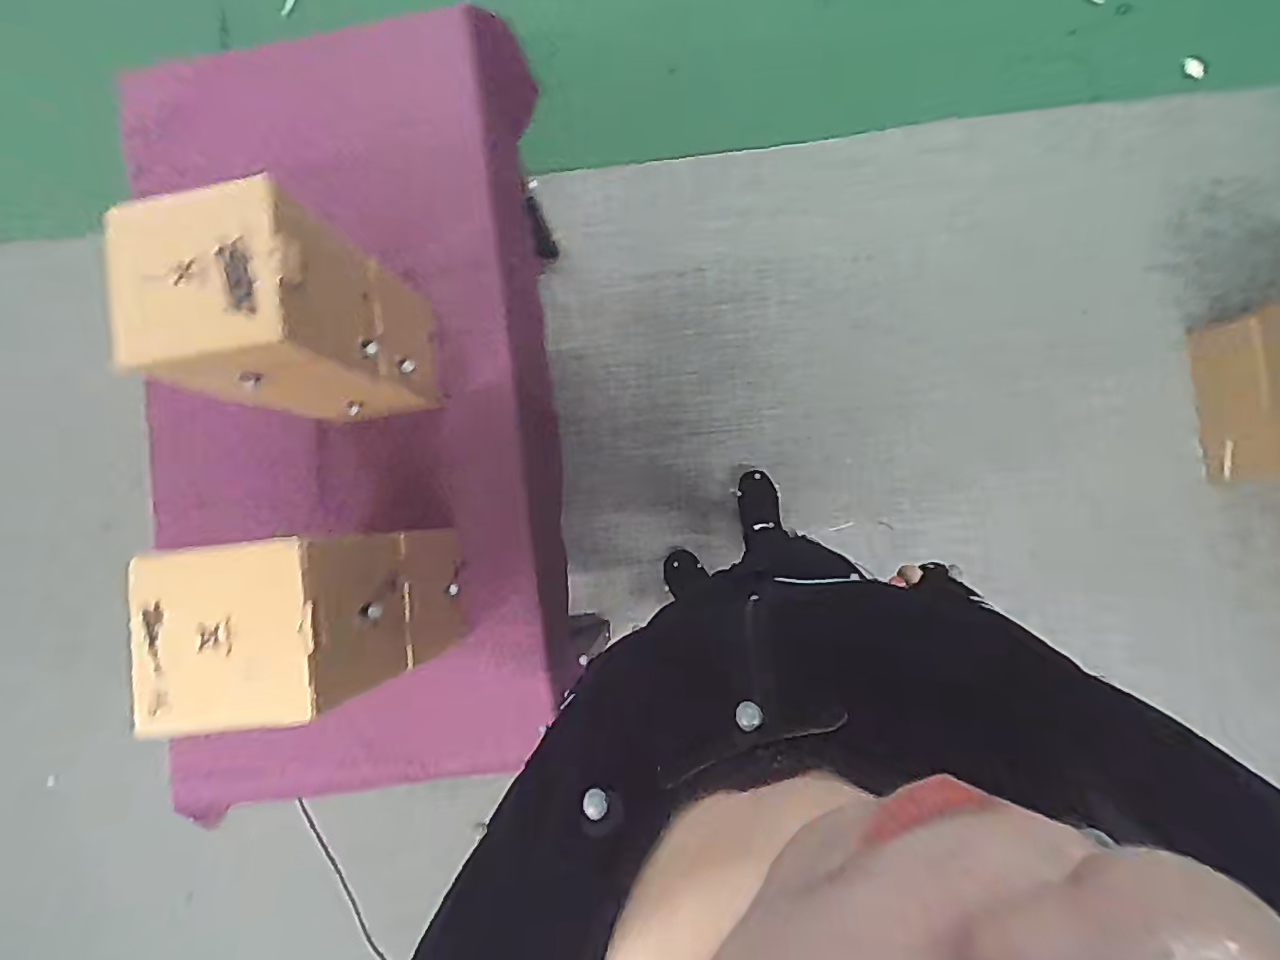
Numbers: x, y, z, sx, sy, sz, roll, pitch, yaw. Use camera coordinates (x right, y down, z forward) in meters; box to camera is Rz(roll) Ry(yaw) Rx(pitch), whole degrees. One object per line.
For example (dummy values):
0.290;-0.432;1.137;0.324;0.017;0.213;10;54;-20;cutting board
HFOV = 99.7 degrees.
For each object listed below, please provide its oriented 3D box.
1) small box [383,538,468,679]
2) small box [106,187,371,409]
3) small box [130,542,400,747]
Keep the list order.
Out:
-0.355;0.170;0.733;0.179;0.176;0.168;-7;85;4;small box
-0.424;-0.185;0.601;0.179;0.176;0.168;-9;85;6;small box
-0.372;0.157;0.569;0.179;0.176;0.168;-7;84;4;small box
